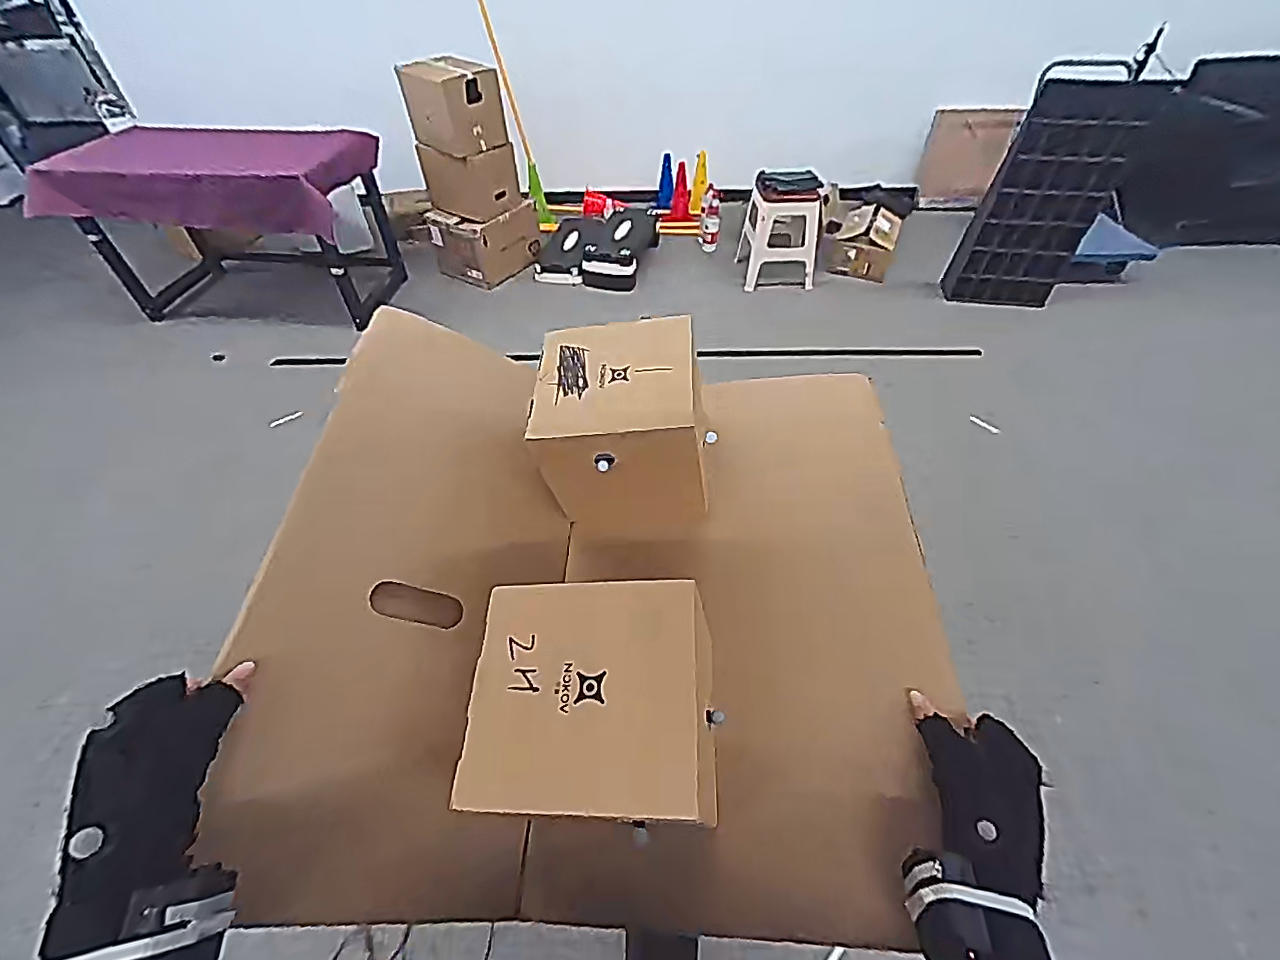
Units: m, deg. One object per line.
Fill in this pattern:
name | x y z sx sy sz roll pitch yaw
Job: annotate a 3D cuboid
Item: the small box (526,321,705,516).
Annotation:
small box | -0.017 -0.067 0.660 0.179 0.176 0.168 -4 56 10
